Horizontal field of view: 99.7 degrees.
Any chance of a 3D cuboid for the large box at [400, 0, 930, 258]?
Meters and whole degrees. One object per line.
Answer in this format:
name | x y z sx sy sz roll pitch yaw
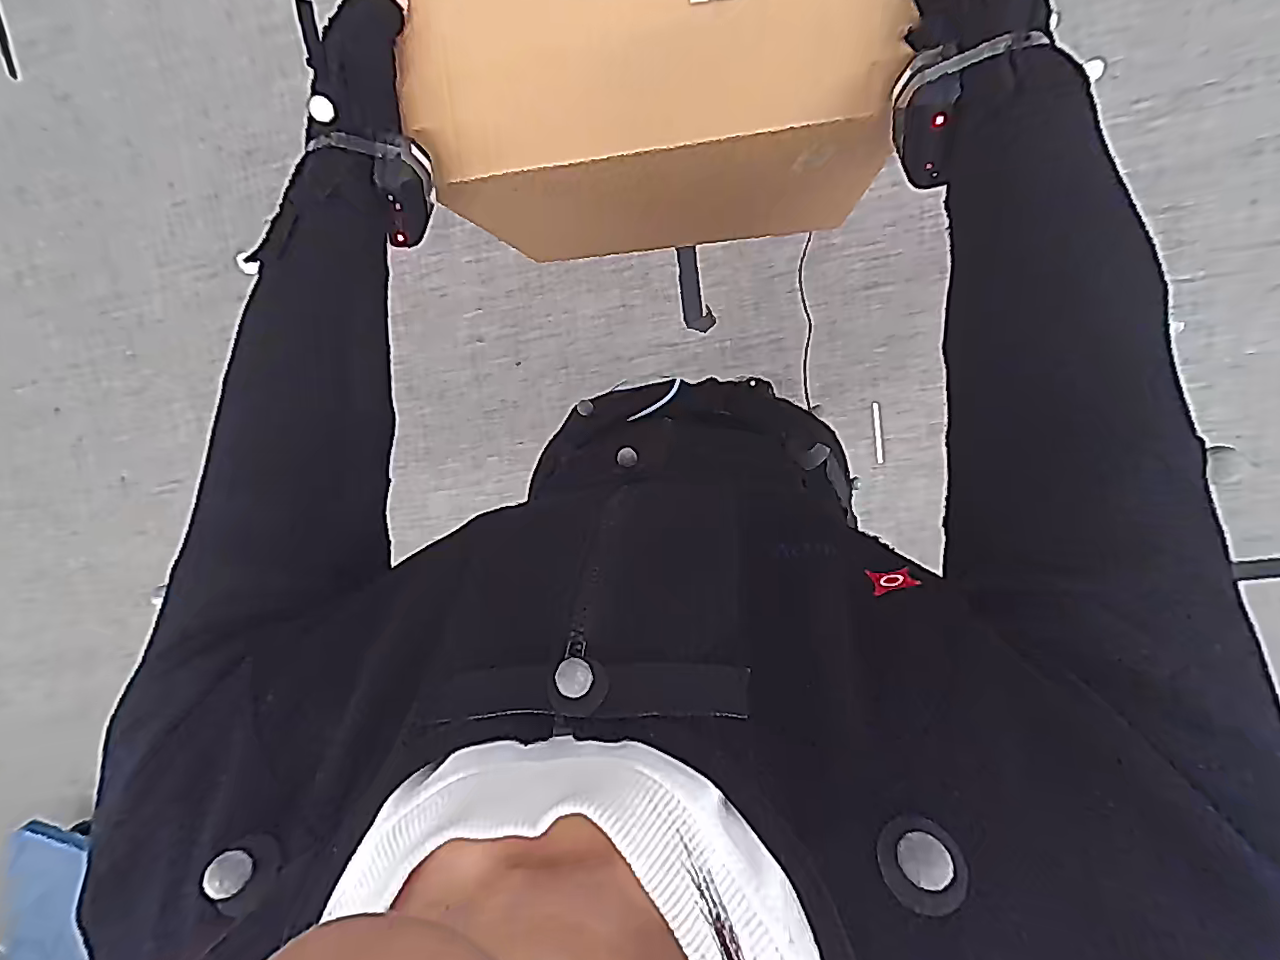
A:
large box | 0.021 -0.441 0.545 0.408 0.320 0.320 -4 100 9
